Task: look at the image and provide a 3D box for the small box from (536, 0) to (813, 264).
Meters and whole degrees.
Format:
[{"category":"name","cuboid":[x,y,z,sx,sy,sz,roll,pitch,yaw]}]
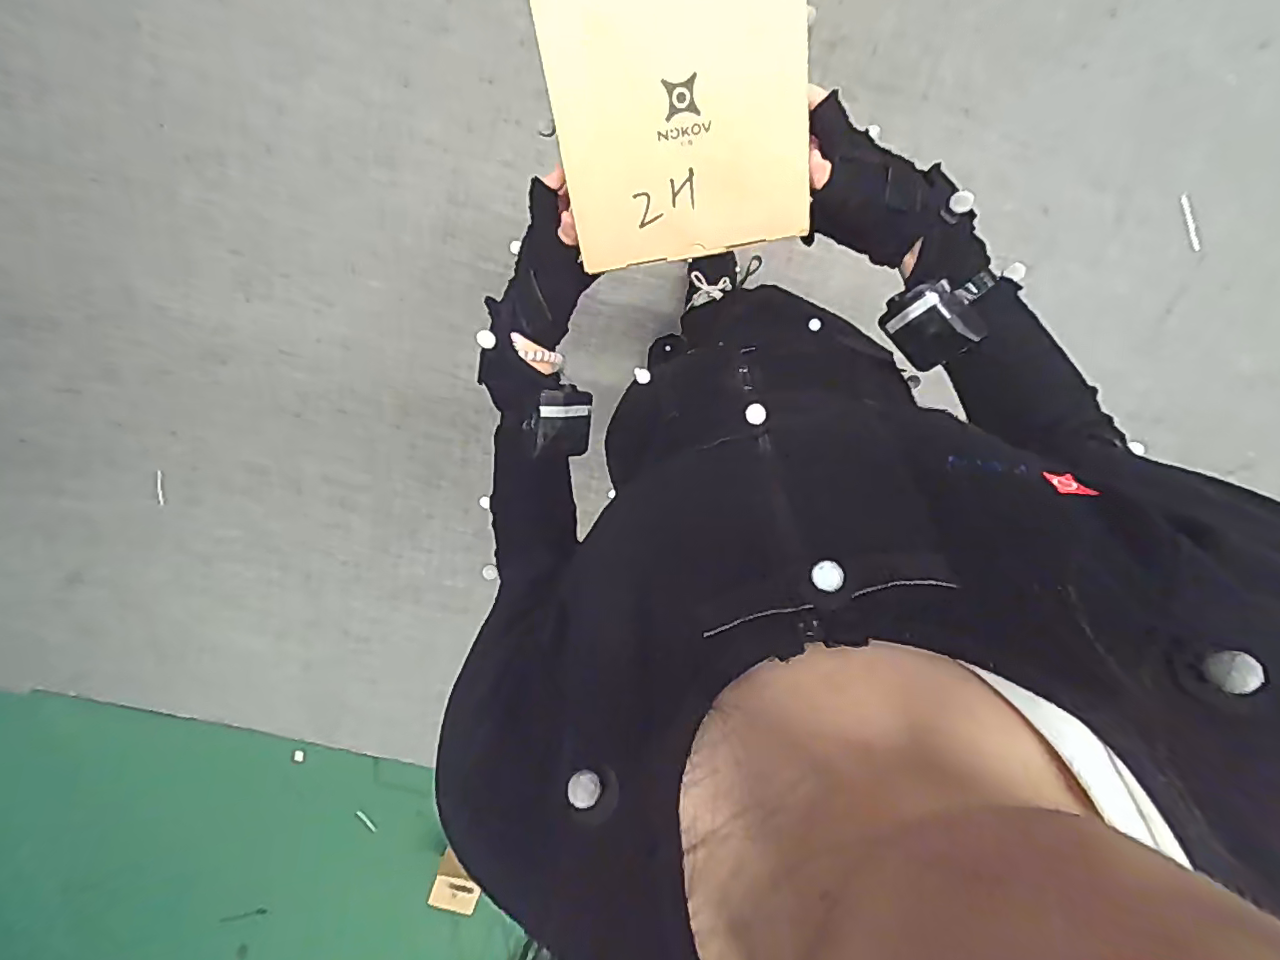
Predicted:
[{"category":"small box","cuboid":[0.025,-0.277,0.412,0.168,0.176,0.179,-8,119,3]}]
